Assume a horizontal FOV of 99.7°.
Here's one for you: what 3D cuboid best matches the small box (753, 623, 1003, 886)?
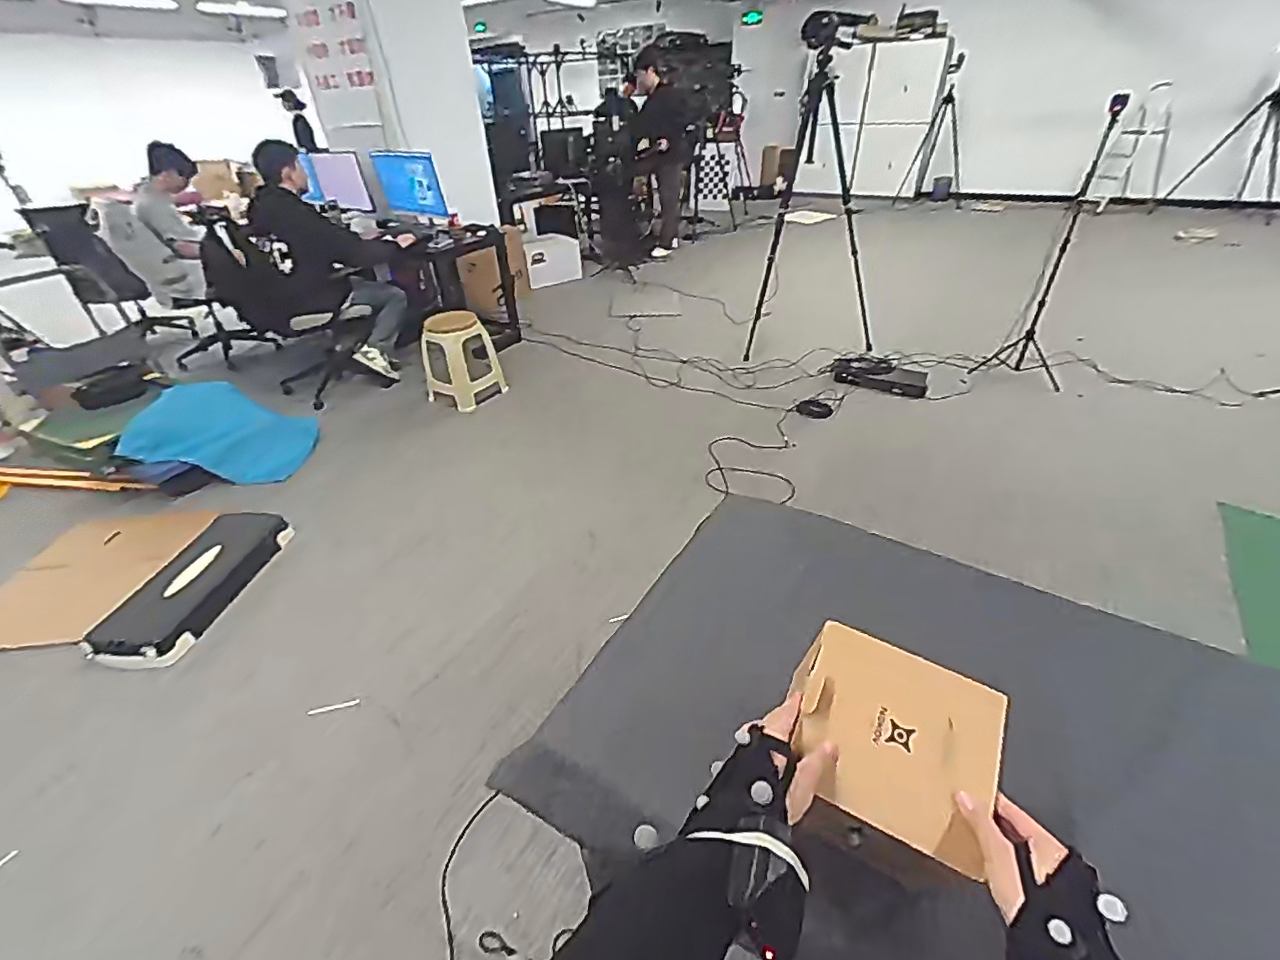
[{"bbox_3d":[0.229,0.283,0.554,0.179,0.176,0.168,22,57,17],"label":"small box"}]
